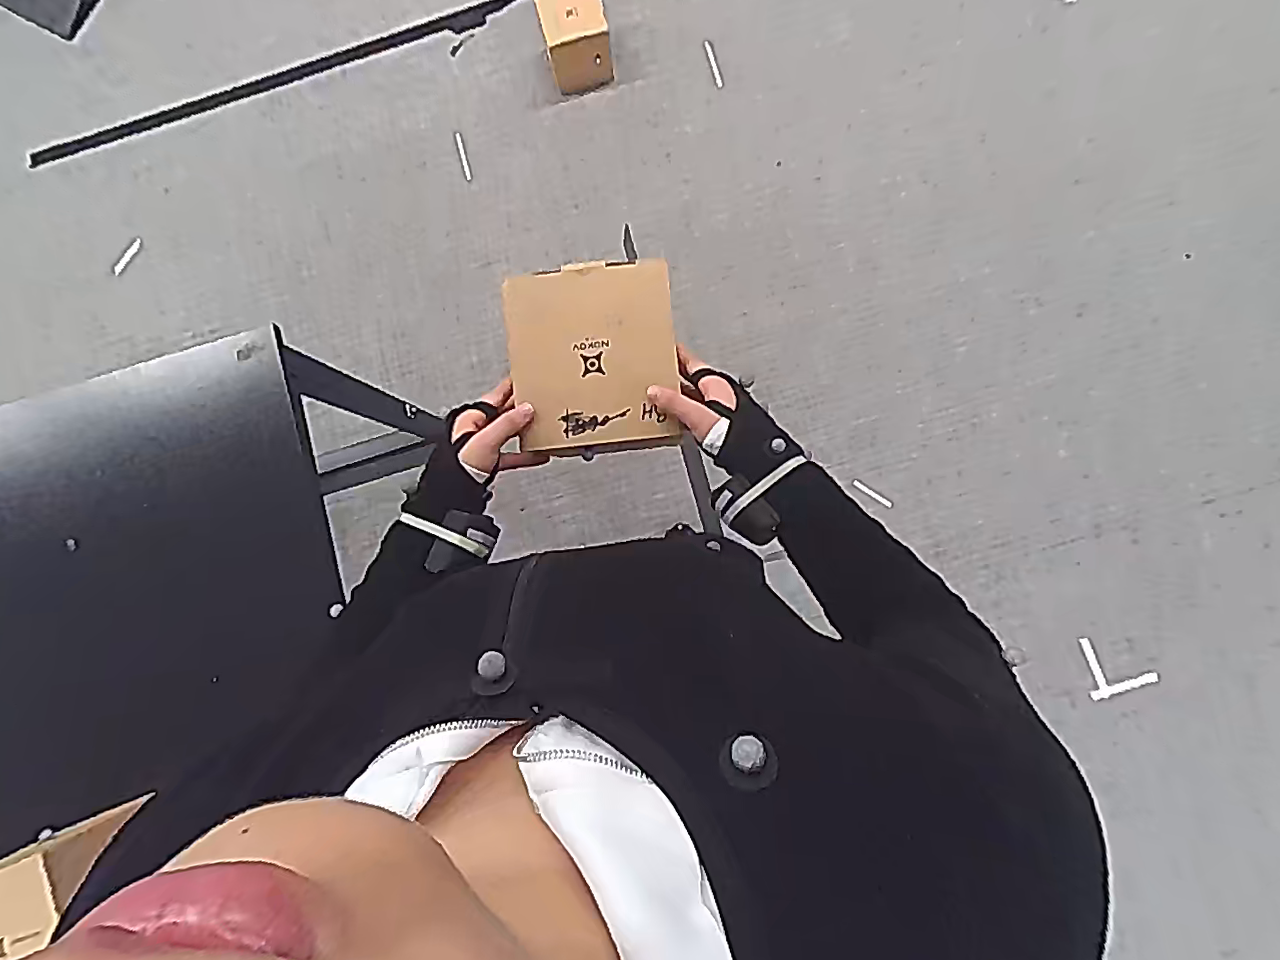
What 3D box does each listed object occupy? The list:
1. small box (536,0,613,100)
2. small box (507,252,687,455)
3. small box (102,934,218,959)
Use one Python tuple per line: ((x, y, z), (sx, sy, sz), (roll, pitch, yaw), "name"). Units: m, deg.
((-0.183, -1.260, 1.571), (0.179, 0.176, 0.168), (-17, 83, 2), "small box")
((-0.039, -0.127, 0.606), (0.168, 0.176, 0.179), (-6, 89, 4), "small box")
((-0.660, 0.714, 0.669), (0.179, 0.176, 0.168), (-13, 83, 2), "small box")
